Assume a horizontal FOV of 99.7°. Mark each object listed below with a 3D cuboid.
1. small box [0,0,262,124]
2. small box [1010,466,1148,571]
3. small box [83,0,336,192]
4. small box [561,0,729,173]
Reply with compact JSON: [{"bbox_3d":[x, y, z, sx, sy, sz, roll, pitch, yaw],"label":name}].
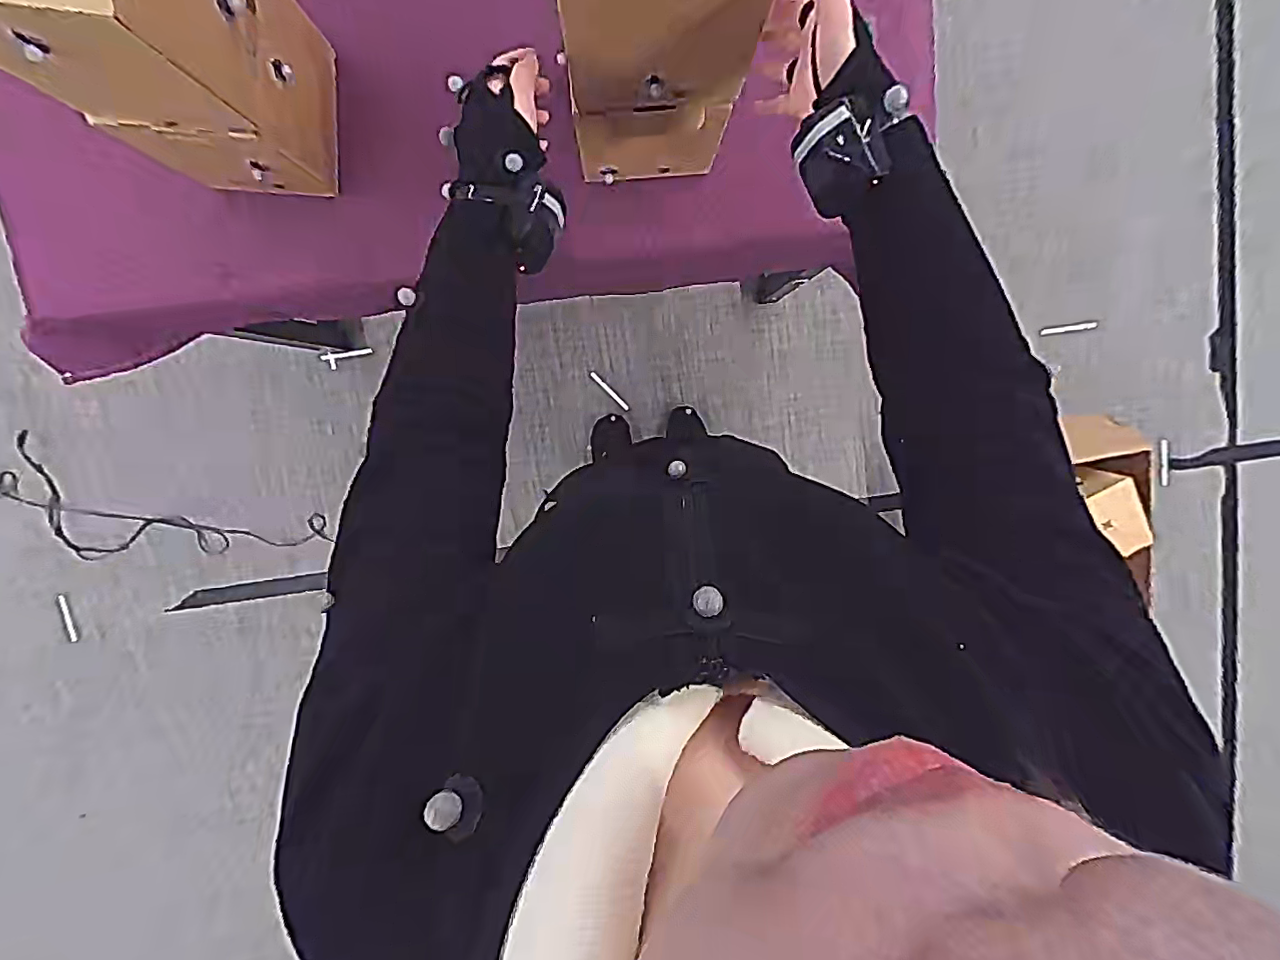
[{"bbox_3d":[-0.449,-0.422,0.439,0.179,0.176,0.168,4,99,-4],"label":"small box"},{"bbox_3d":[1.031,0.081,1.286,0.168,0.176,0.179,-29,102,4],"label":"small box"},{"bbox_3d":[-0.461,-0.444,0.601,0.168,0.176,0.179,3,98,-4],"label":"small box"},{"bbox_3d":[0.003,-0.471,0.613,0.168,0.176,0.179,-5,97,-1],"label":"small box"}]
